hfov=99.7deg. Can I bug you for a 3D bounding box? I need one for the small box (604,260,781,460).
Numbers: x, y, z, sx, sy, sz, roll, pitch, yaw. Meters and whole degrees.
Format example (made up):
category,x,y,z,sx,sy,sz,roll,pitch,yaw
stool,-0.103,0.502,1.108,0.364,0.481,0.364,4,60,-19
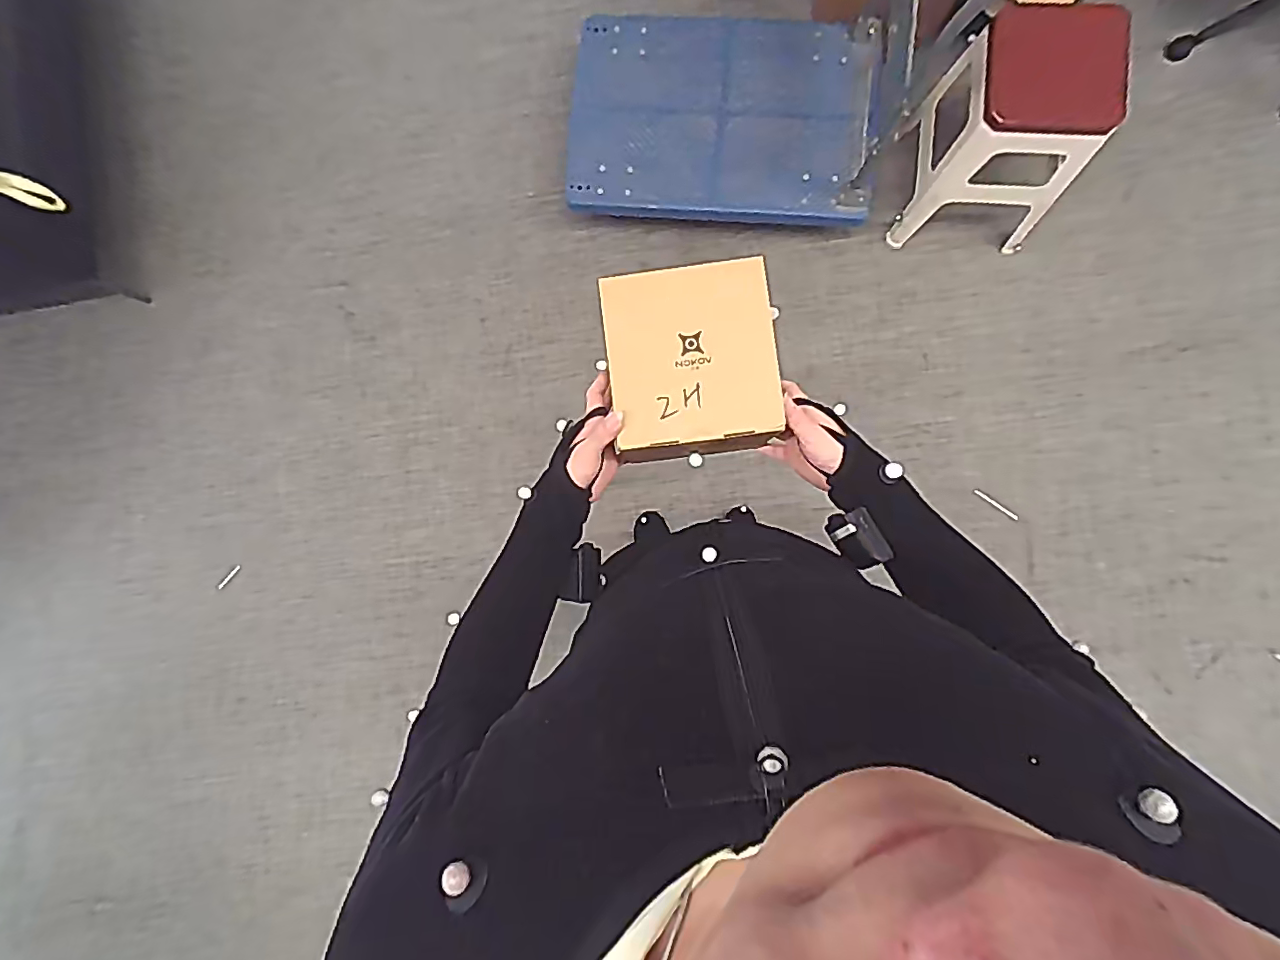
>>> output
category,x,y,z,sx,sy,sz,roll,pitch,yaw
small box,0.054,-0.123,0.618,0.168,0.176,0.179,-6,87,3
